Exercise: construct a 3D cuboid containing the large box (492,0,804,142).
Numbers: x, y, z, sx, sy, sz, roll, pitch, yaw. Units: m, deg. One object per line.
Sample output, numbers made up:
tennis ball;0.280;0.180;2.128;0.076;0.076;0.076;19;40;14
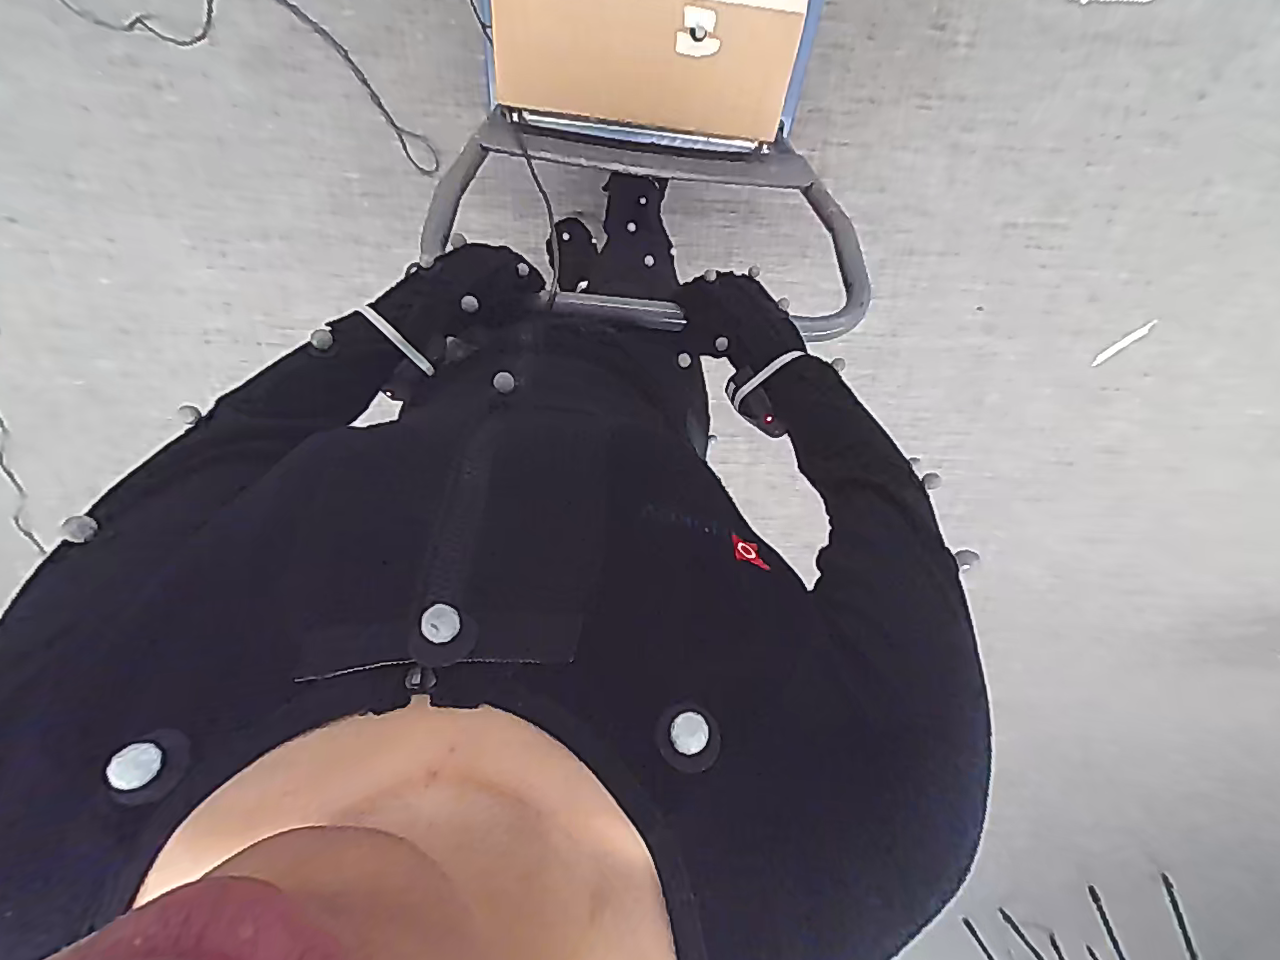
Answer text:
large box;0.006;-0.718;0.784;0.408;0.320;0.320;3;133;-6
